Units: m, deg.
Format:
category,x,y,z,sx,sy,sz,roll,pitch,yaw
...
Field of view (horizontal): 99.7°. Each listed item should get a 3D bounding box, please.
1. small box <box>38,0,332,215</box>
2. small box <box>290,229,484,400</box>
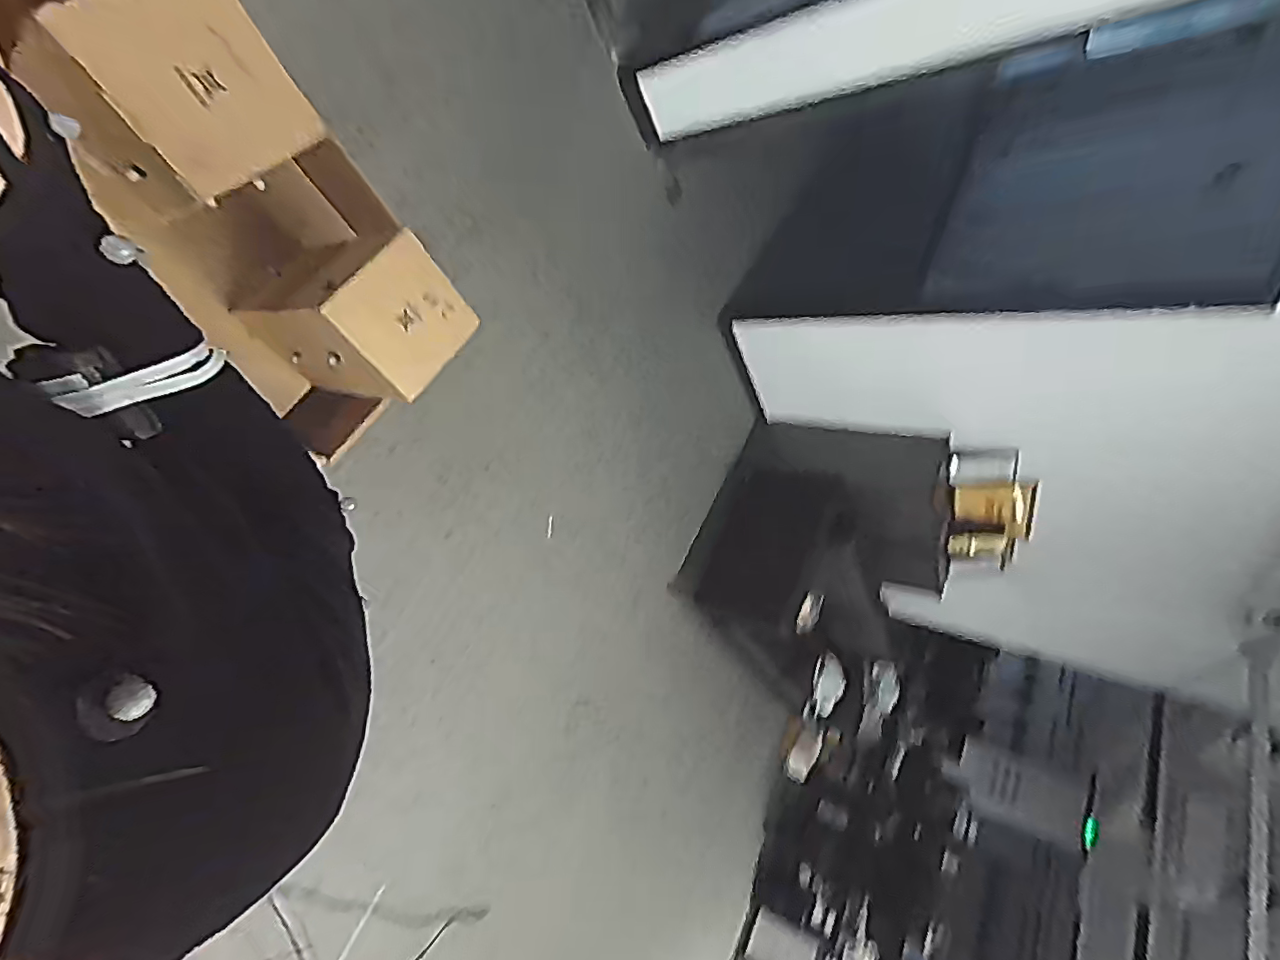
category,x,y,z,sx,sy,sz,roll,pitch,yaw
small box,-0.500,-0.418,0.600,0.179,0.176,0.168,-55,138,-28
small box,-0.378,-0.241,0.804,0.179,0.176,0.168,-58,139,-24
